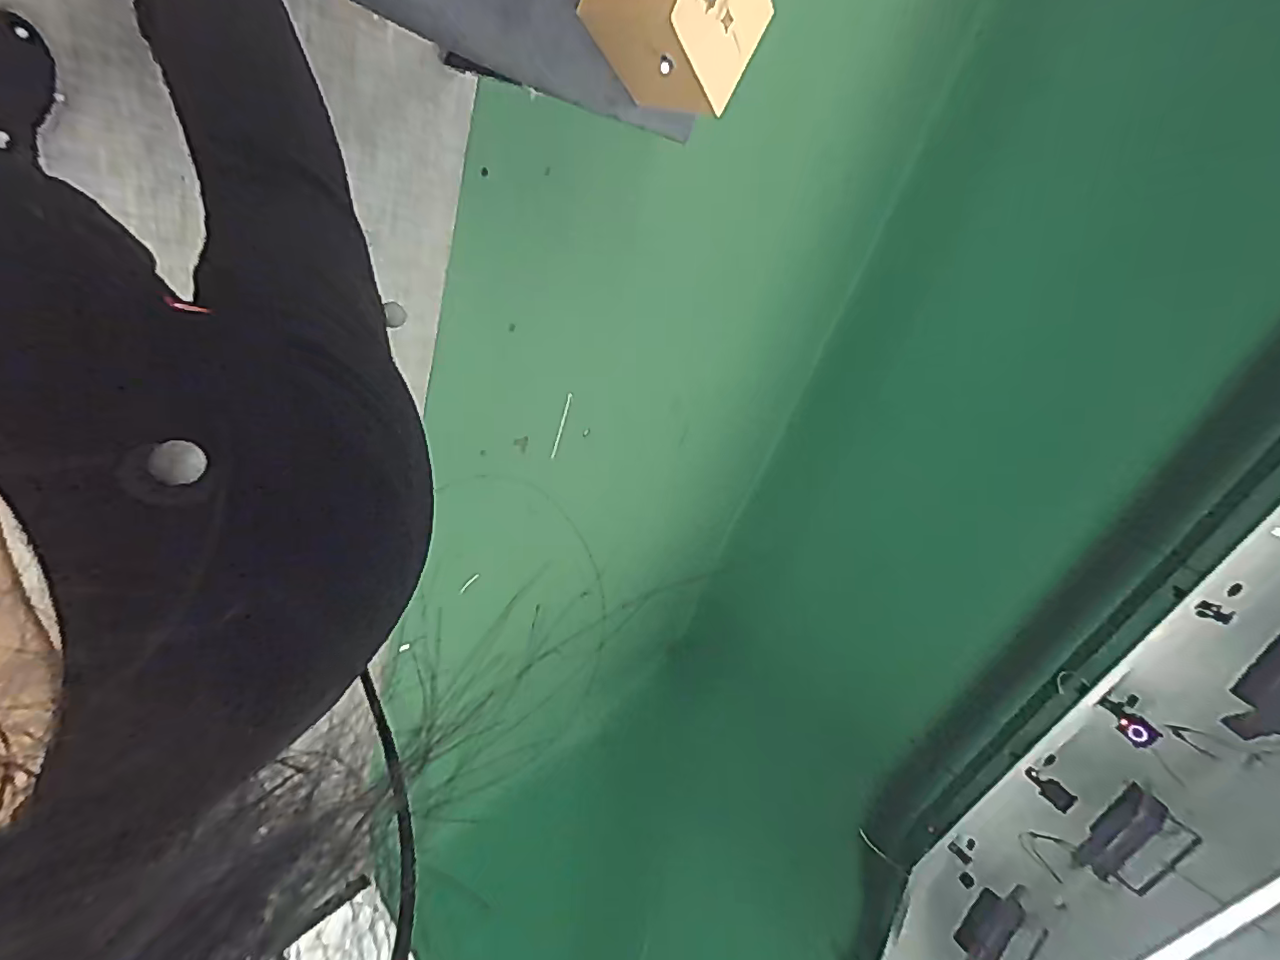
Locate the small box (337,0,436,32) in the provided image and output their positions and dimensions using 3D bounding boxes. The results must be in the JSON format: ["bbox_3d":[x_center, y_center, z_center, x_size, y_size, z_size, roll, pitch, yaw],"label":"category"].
[{"bbox_3d":[-0.513,-1.018,1.054,0.168,0.176,0.179,-21,138,-46],"label":"small box"}]

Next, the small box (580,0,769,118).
[{"bbox_3d":[0.047,-0.650,0.755,0.179,0.176,0.168,17,104,-59],"label":"small box"}]
